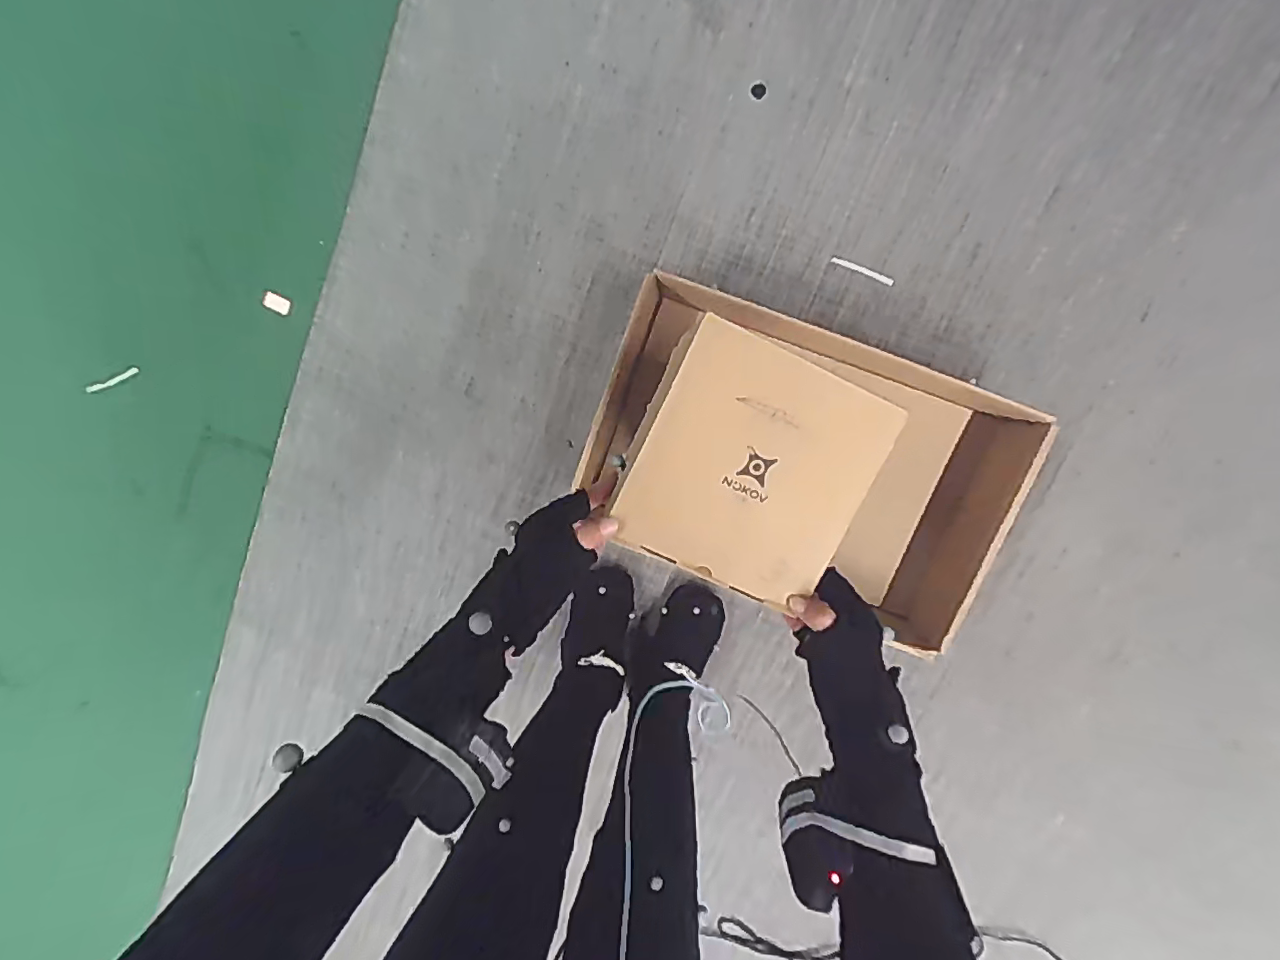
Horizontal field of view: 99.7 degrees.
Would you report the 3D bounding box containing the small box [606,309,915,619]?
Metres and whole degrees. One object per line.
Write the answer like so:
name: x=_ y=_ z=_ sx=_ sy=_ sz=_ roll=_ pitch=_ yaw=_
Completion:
small box: x=0.085 y=-0.018 z=0.464 sx=0.168 sy=0.176 sz=0.179 roll=26 pitch=98 yaw=-5
